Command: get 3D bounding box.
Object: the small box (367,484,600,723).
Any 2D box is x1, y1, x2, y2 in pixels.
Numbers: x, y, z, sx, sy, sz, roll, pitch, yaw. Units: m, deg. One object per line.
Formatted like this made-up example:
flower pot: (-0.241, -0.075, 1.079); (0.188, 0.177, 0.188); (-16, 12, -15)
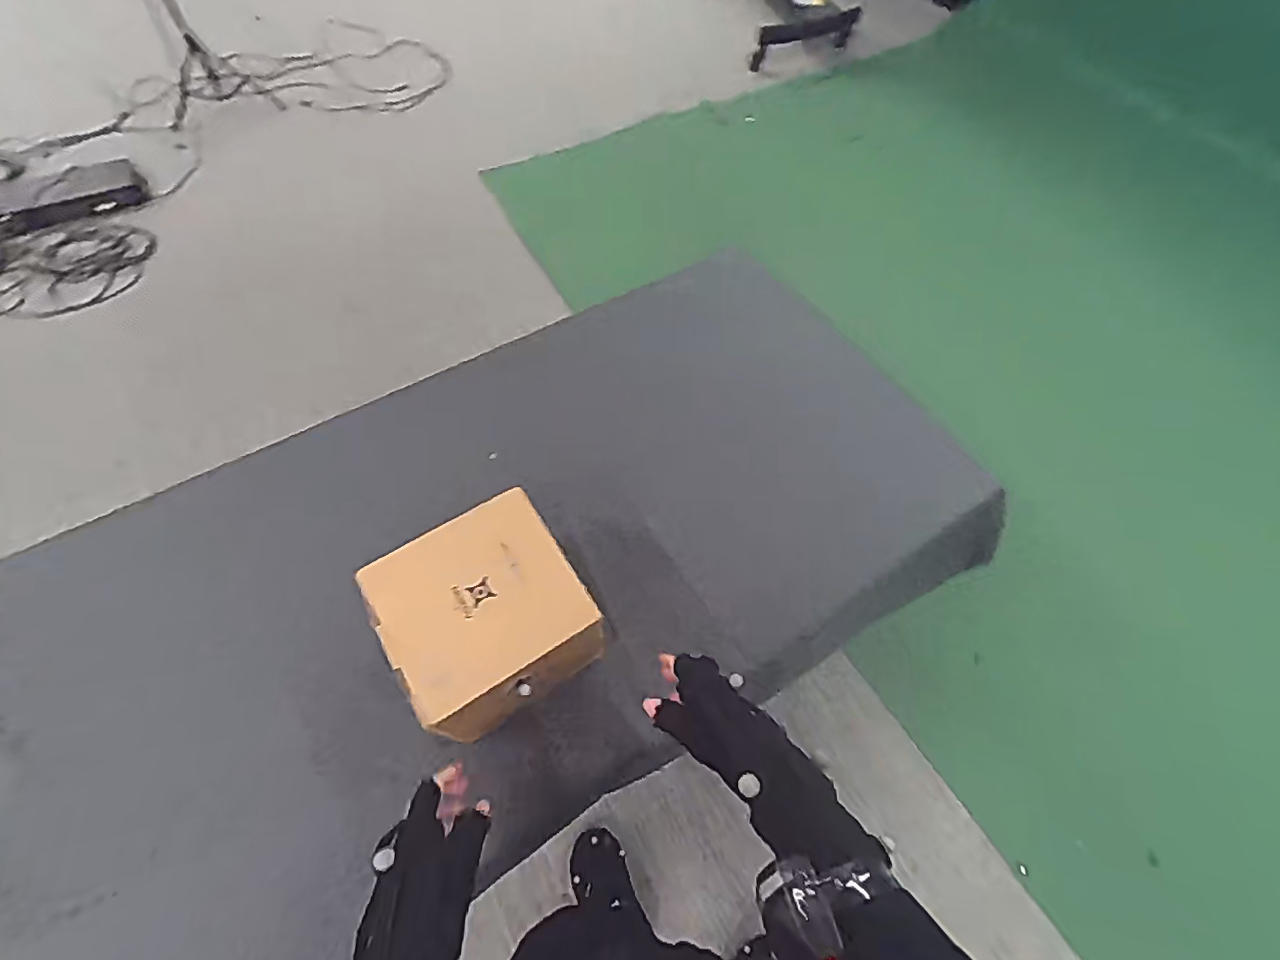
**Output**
small box: (-0.155, 0.142, 0.590); (0.179, 0.176, 0.168); (-30, 68, -19)
